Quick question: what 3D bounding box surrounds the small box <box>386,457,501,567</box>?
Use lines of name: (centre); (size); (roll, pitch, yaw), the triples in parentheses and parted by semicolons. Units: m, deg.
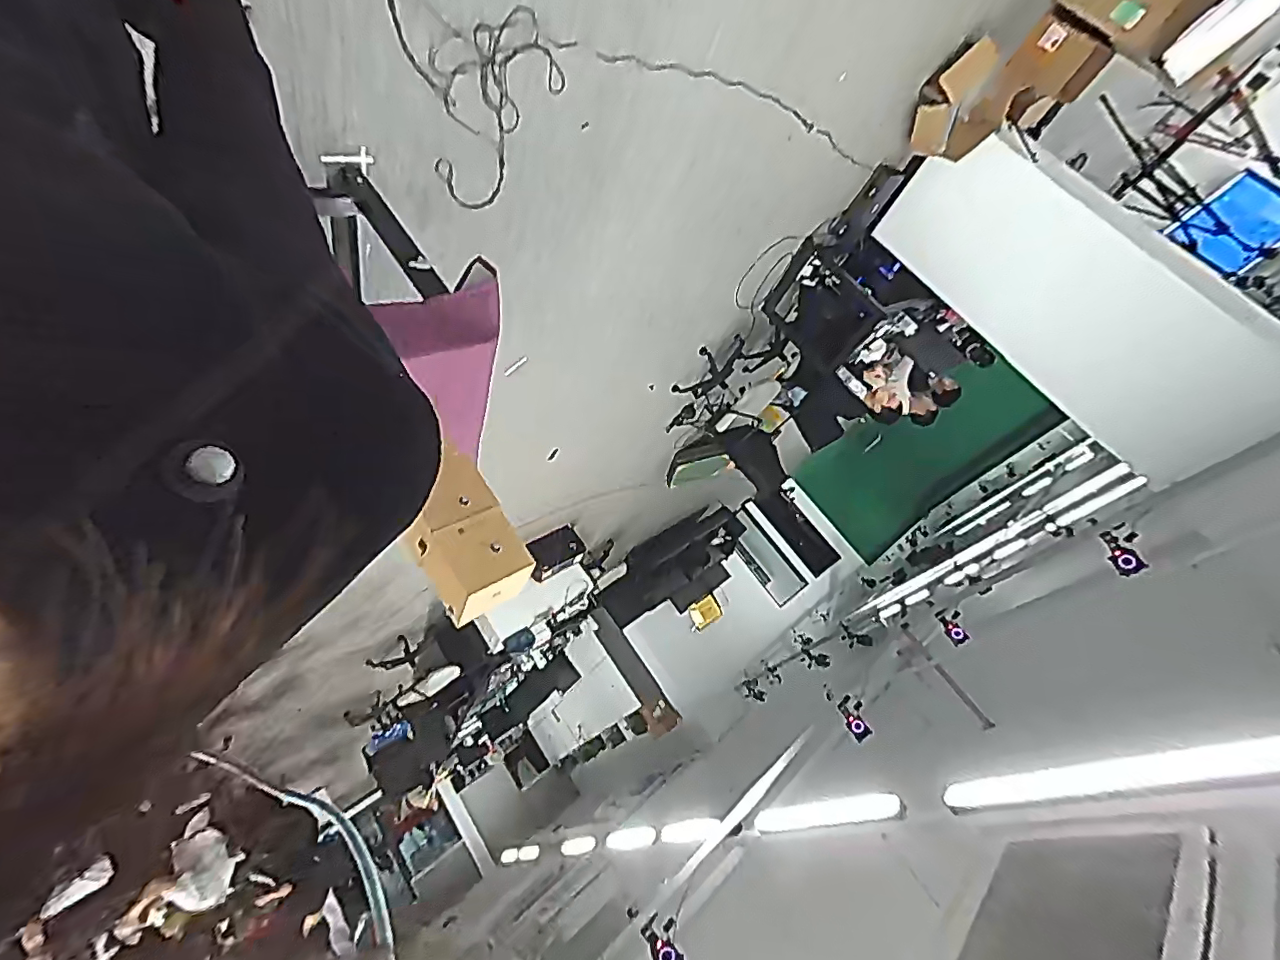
small box: (-0.462, 0.068, 1.262); (0.179, 0.176, 0.168); (-21, 157, -44)

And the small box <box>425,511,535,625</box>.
small box: (-0.365, 0.189, 1.214); (0.168, 0.176, 0.179); (-25, 160, -38)
